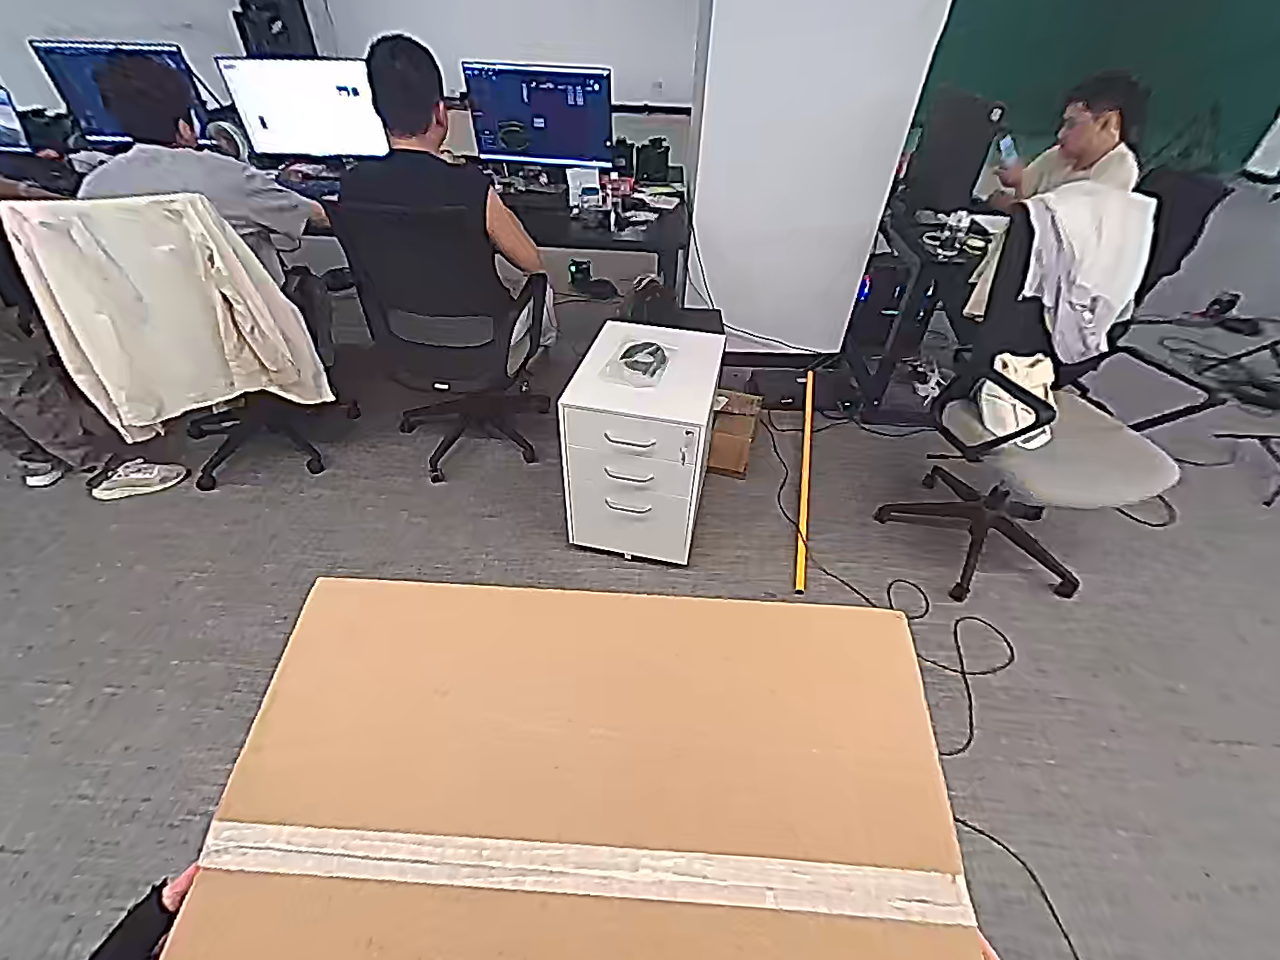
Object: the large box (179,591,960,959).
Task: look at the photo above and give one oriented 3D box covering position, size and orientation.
[{"bbox_3d":[-0.033,0.296,0.418,0.408,0.320,0.320,3,57,3],"label":"large box"}]
